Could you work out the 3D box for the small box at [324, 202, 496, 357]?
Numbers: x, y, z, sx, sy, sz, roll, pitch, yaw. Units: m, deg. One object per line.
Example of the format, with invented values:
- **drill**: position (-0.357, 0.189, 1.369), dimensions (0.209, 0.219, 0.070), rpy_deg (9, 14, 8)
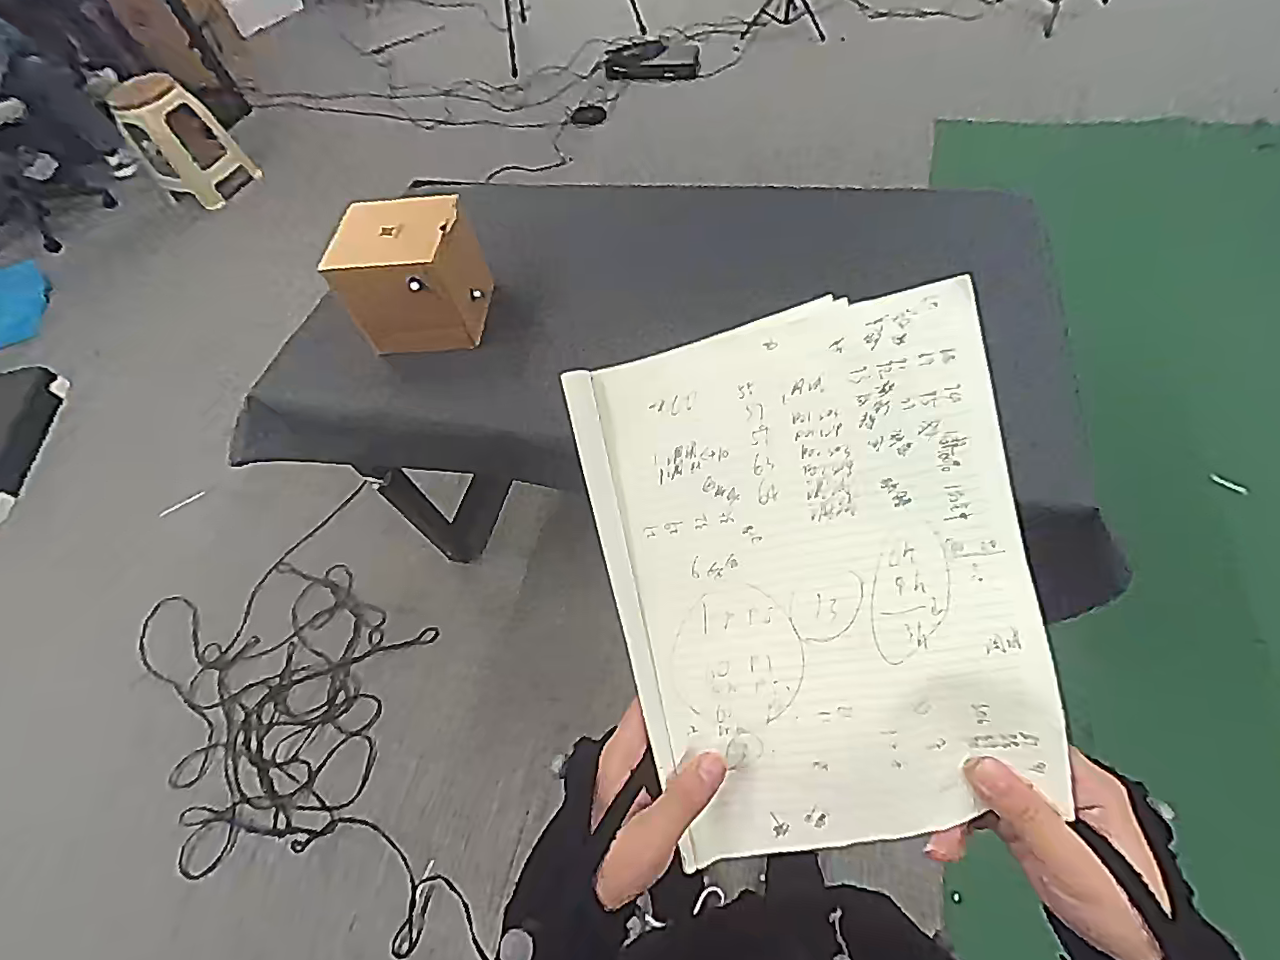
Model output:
- **small box**: position (-0.353, -0.314, 0.867), dimensions (0.179, 0.176, 0.168), rpy_deg (-2, 57, 6)
